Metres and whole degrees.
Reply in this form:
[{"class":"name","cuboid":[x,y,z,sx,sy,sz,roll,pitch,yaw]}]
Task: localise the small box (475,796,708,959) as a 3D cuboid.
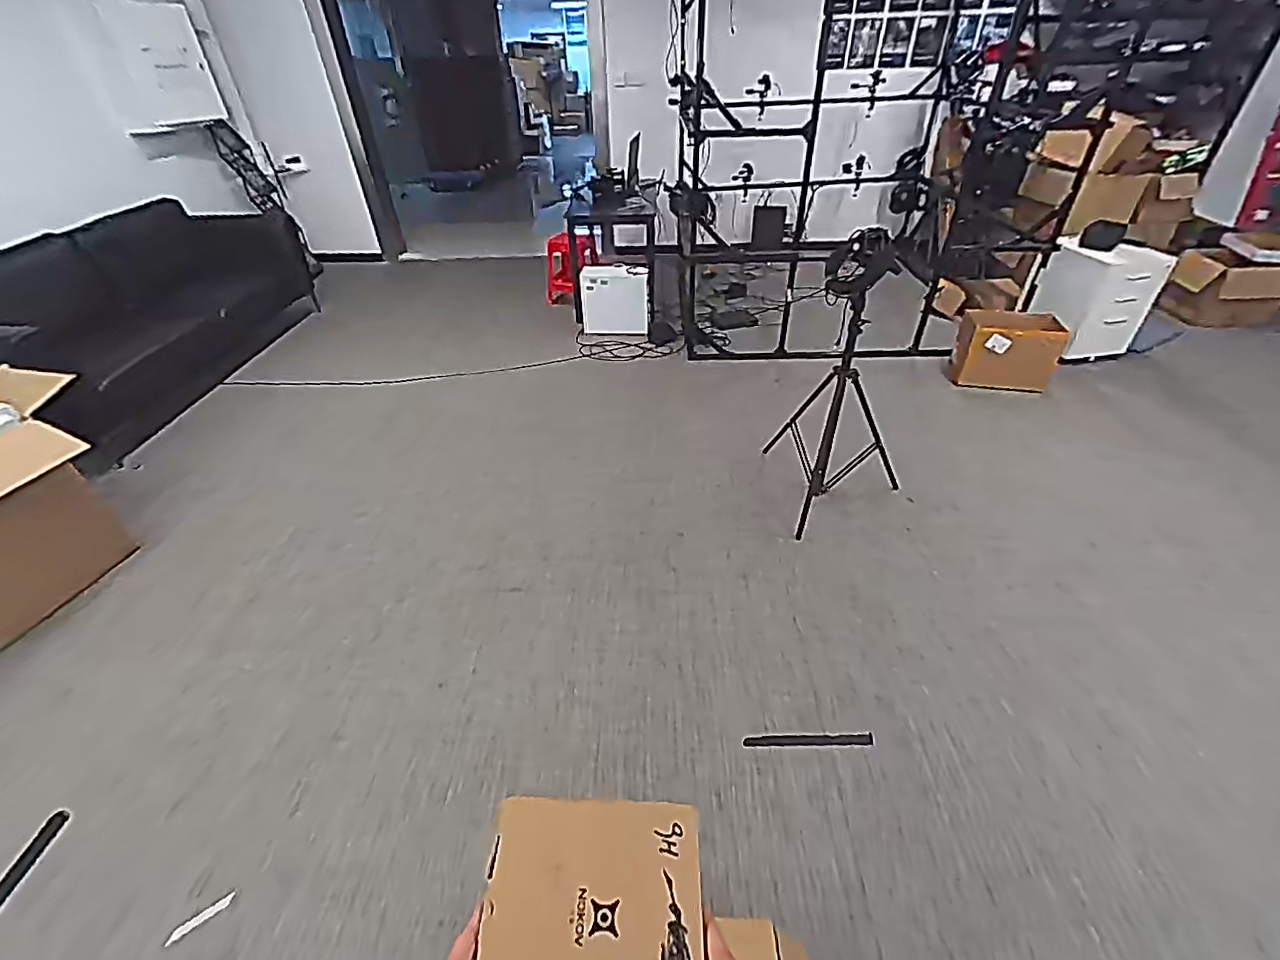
[{"class":"small box","cuboid":[-0.037,0.399,0.472,0.179,0.176,0.168,3,42,-1]}]
